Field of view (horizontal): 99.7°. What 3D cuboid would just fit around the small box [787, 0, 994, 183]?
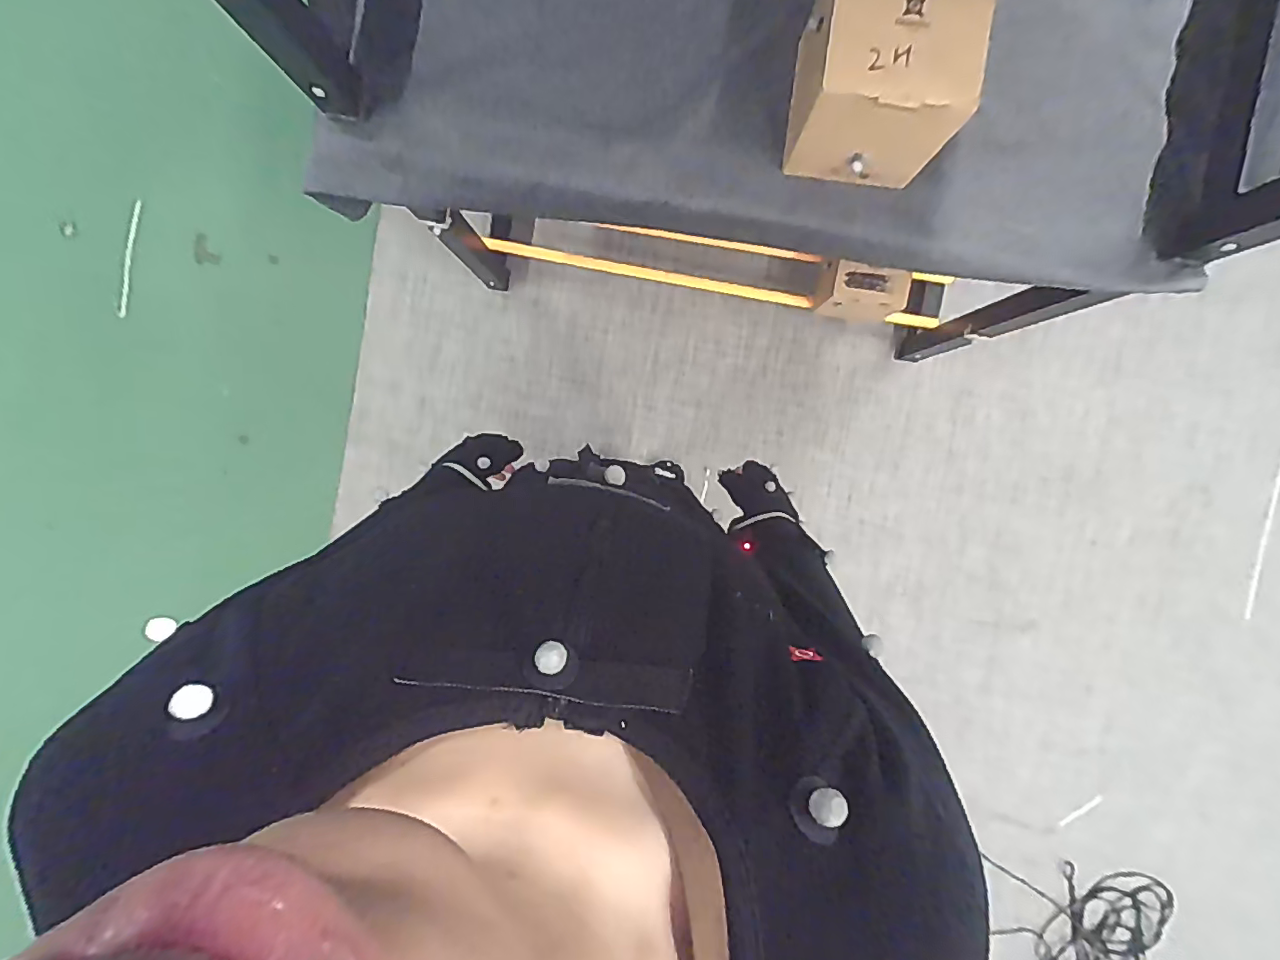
[{"bbox_3d":[0.285,-0.492,0.643,0.168,0.176,0.179,8,92,0],"label":"small box"}]
